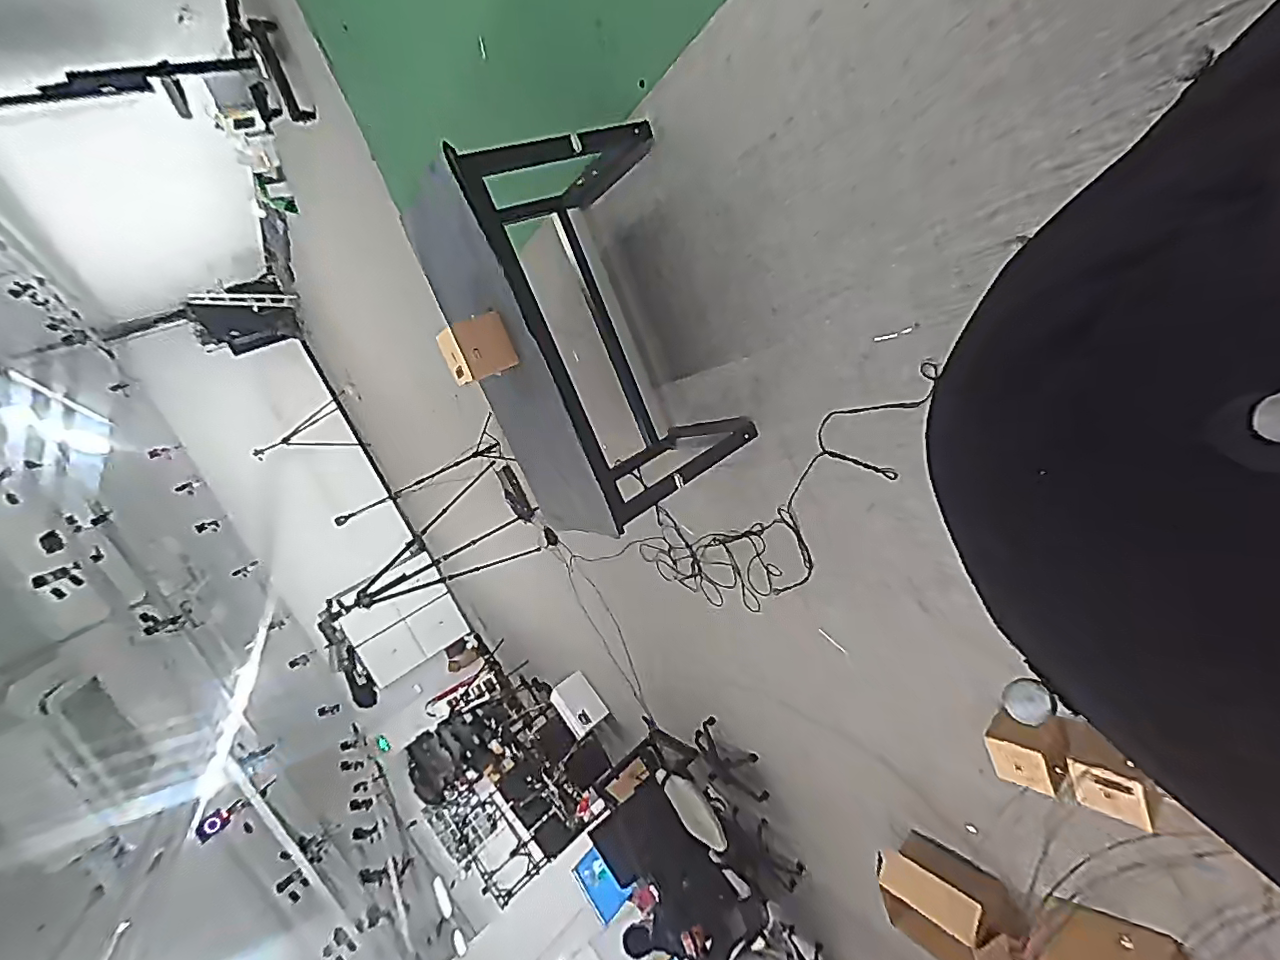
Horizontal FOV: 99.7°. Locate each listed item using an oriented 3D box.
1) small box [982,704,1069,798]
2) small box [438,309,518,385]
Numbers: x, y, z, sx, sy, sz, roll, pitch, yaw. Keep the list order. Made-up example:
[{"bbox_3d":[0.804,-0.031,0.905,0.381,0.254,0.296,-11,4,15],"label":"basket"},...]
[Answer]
[{"bbox_3d":[1.238,0.860,1.731,0.168,0.176,0.179,-7,111,57],"label":"small box"},{"bbox_3d":[-0.517,-0.426,1.738,0.168,0.176,0.179,1,117,56],"label":"small box"}]
